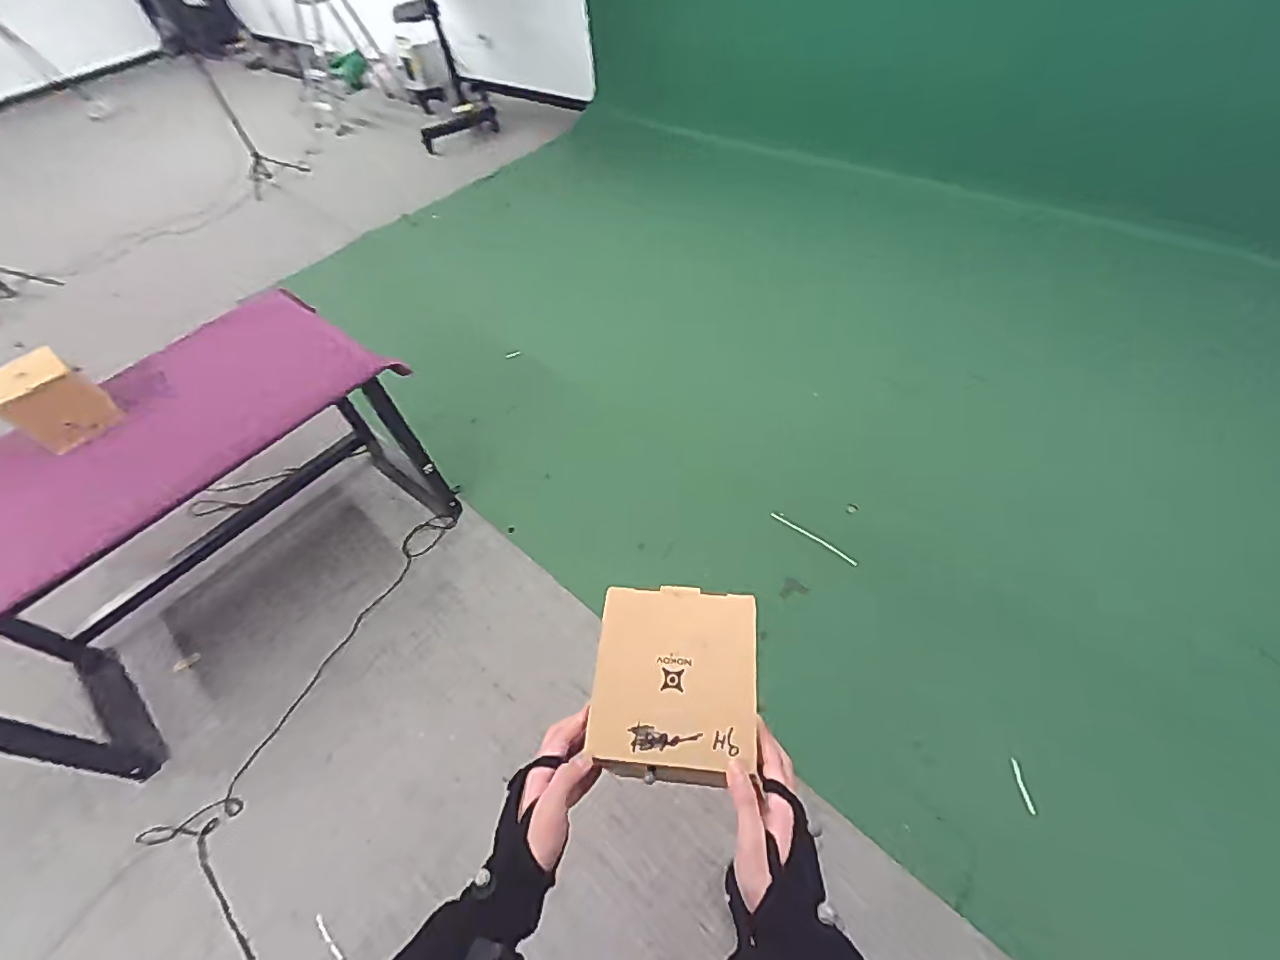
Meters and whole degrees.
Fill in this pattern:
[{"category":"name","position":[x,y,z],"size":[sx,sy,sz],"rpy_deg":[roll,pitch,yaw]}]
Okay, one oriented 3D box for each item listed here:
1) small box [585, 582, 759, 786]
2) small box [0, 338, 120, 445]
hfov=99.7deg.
[{"category":"small box","position":[0.045,0.233,0.612],"size":[0.168,0.176,0.179],"rpy_deg":[2,57,9]},{"category":"small box","position":[-1.463,-0.216,1.339],"size":[0.179,0.176,0.168],"rpy_deg":[32,62,26]}]
